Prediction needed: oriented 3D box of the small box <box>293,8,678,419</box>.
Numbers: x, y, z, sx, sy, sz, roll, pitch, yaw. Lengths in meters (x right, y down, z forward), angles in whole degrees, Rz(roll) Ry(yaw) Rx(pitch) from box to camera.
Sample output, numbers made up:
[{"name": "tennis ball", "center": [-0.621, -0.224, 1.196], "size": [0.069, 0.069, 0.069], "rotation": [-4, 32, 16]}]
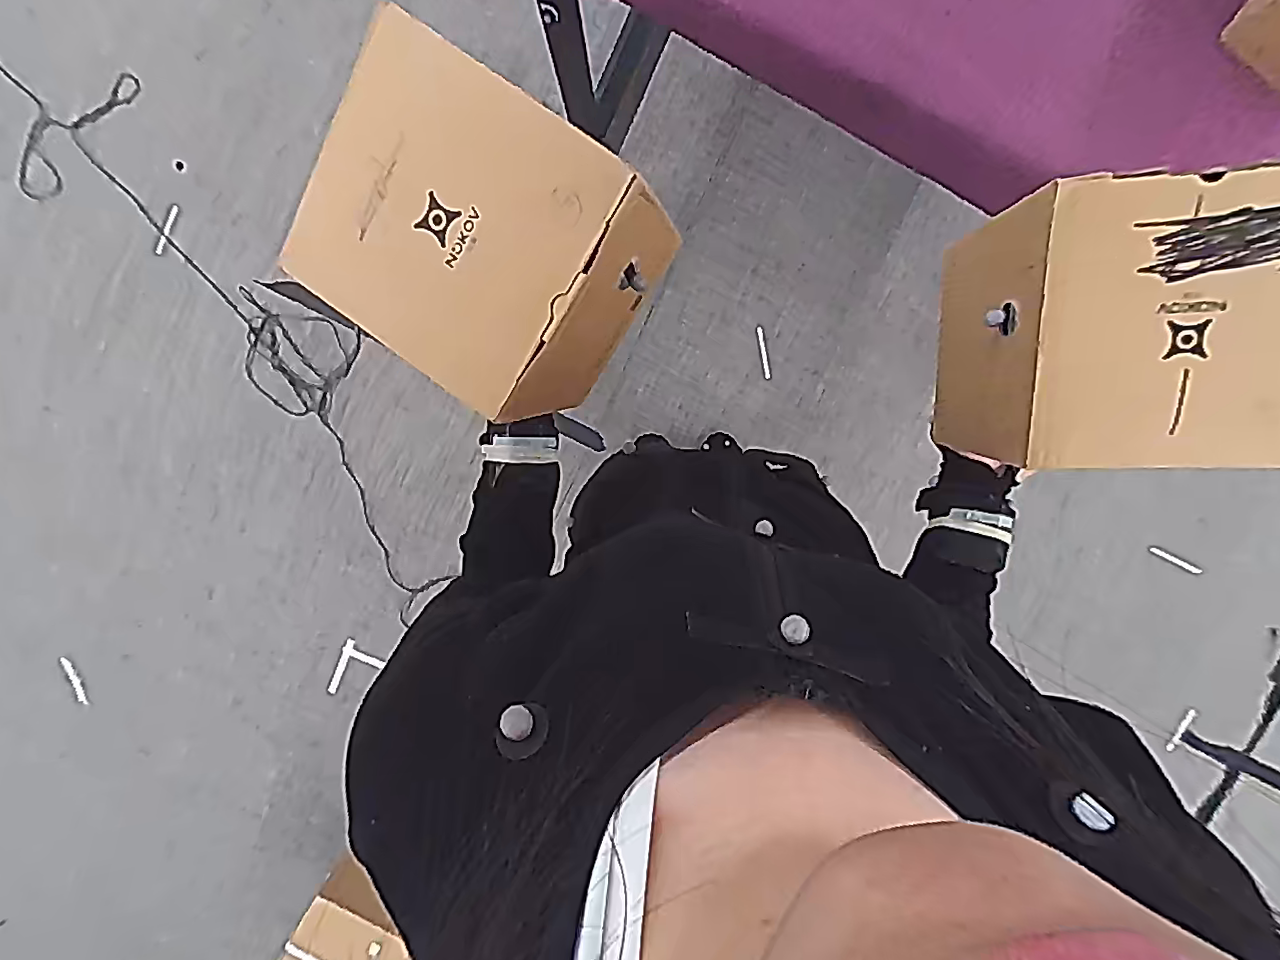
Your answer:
[{"name": "small box", "center": [-0.091, -0.166, 0.393], "size": [0.179, 0.176, 0.168], "rotation": [36, 106, 4]}]

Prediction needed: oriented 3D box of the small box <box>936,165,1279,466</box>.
[{"name": "small box", "center": [0.343, -0.108, 0.405], "size": [0.168, 0.176, 0.179], "rotation": [1, 101, 9]}]
